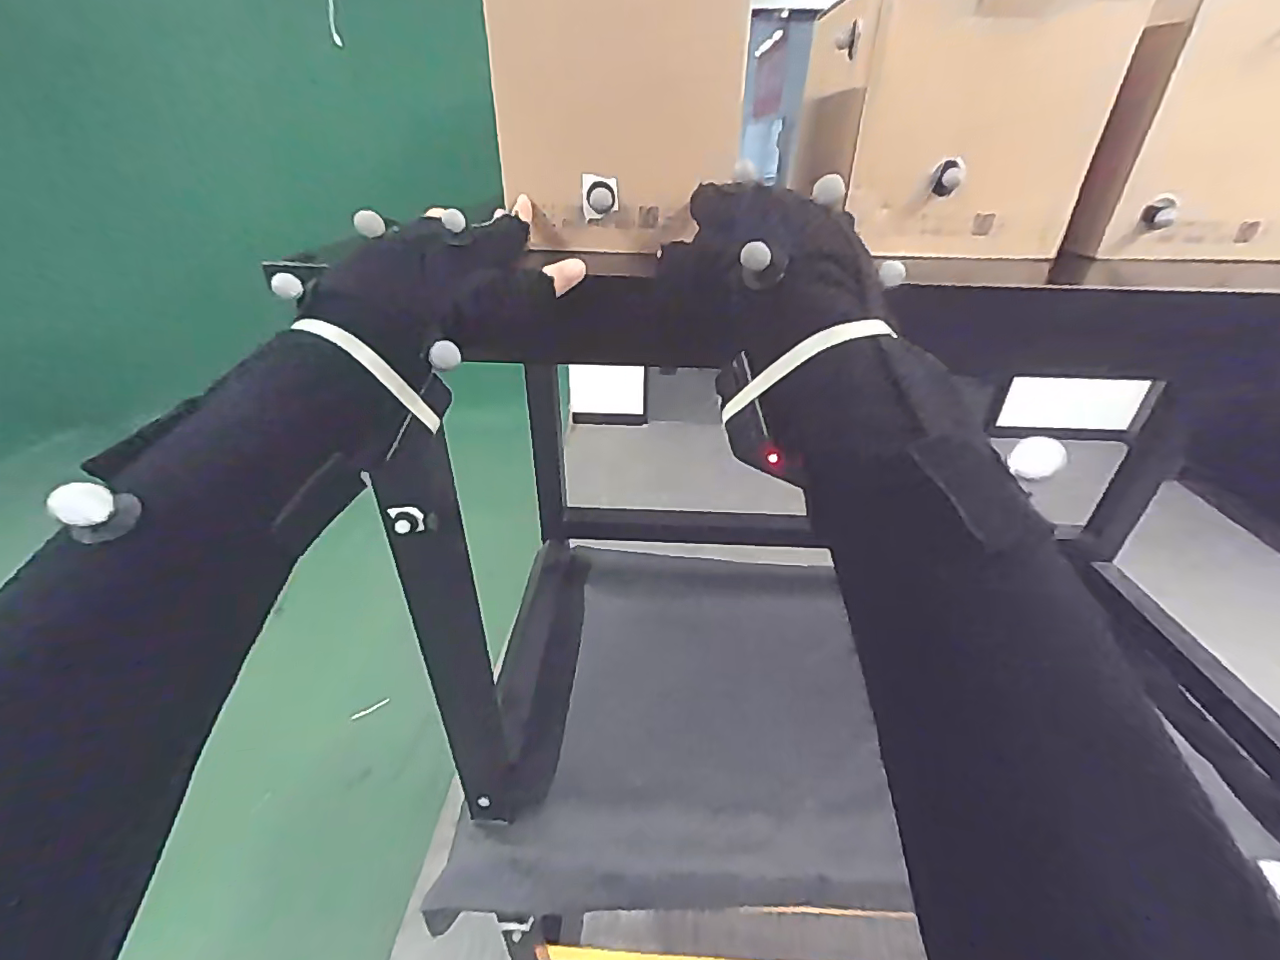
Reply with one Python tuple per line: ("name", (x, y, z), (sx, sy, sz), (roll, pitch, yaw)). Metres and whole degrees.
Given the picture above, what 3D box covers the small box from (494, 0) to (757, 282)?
("small box", (-0.008, -0.269, 0.440), (0.168, 0.176, 0.179), (1, 33, 1))
